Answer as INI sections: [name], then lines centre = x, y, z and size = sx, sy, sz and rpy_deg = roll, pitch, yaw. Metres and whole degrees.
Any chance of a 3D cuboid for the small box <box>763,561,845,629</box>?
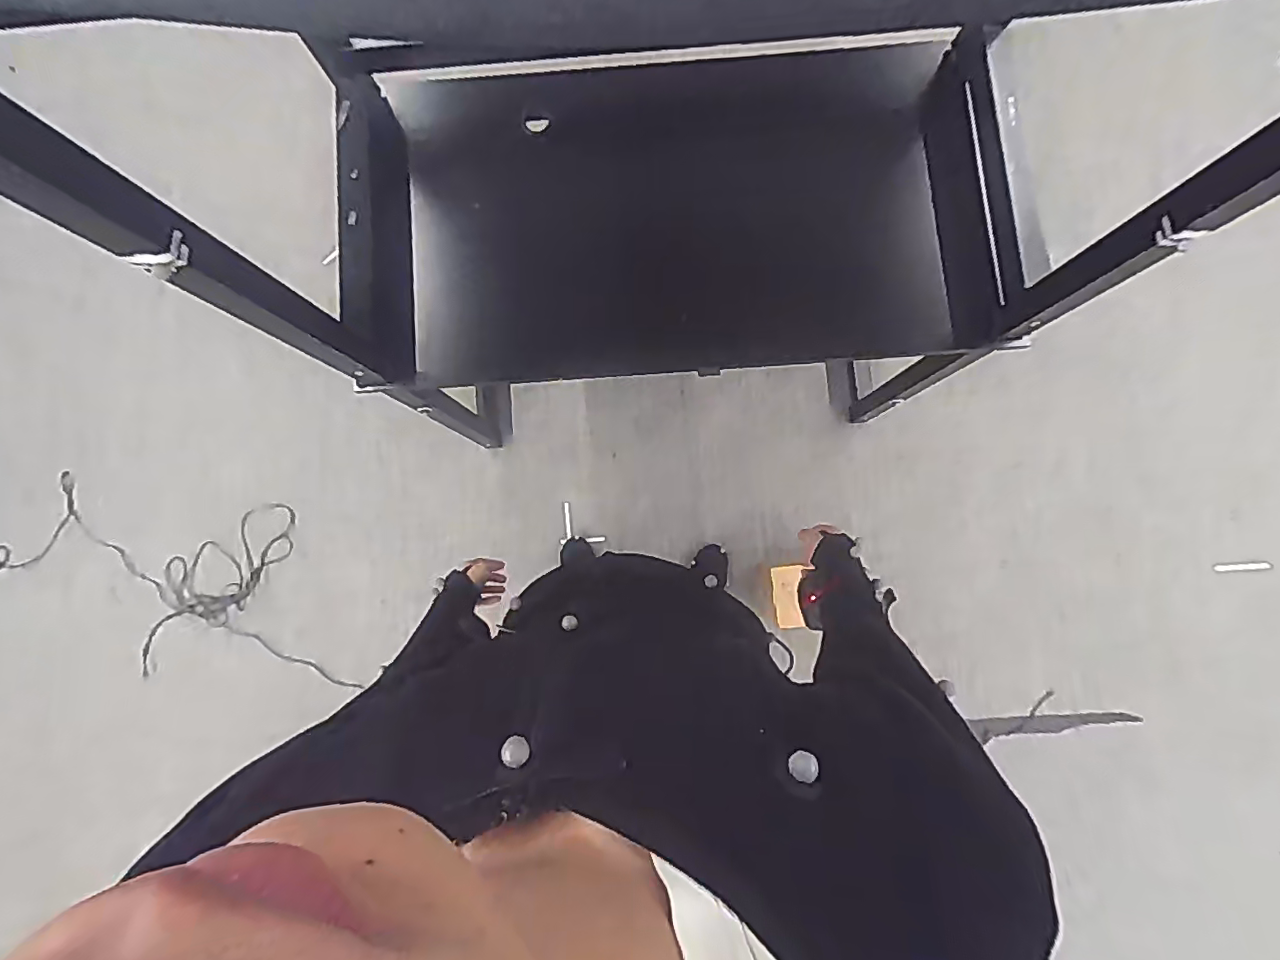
[small box]
centre = 0.460, 0.322, 1.538
size = 0.179, 0.176, 0.168
rpy_deg = -6, 83, 2
